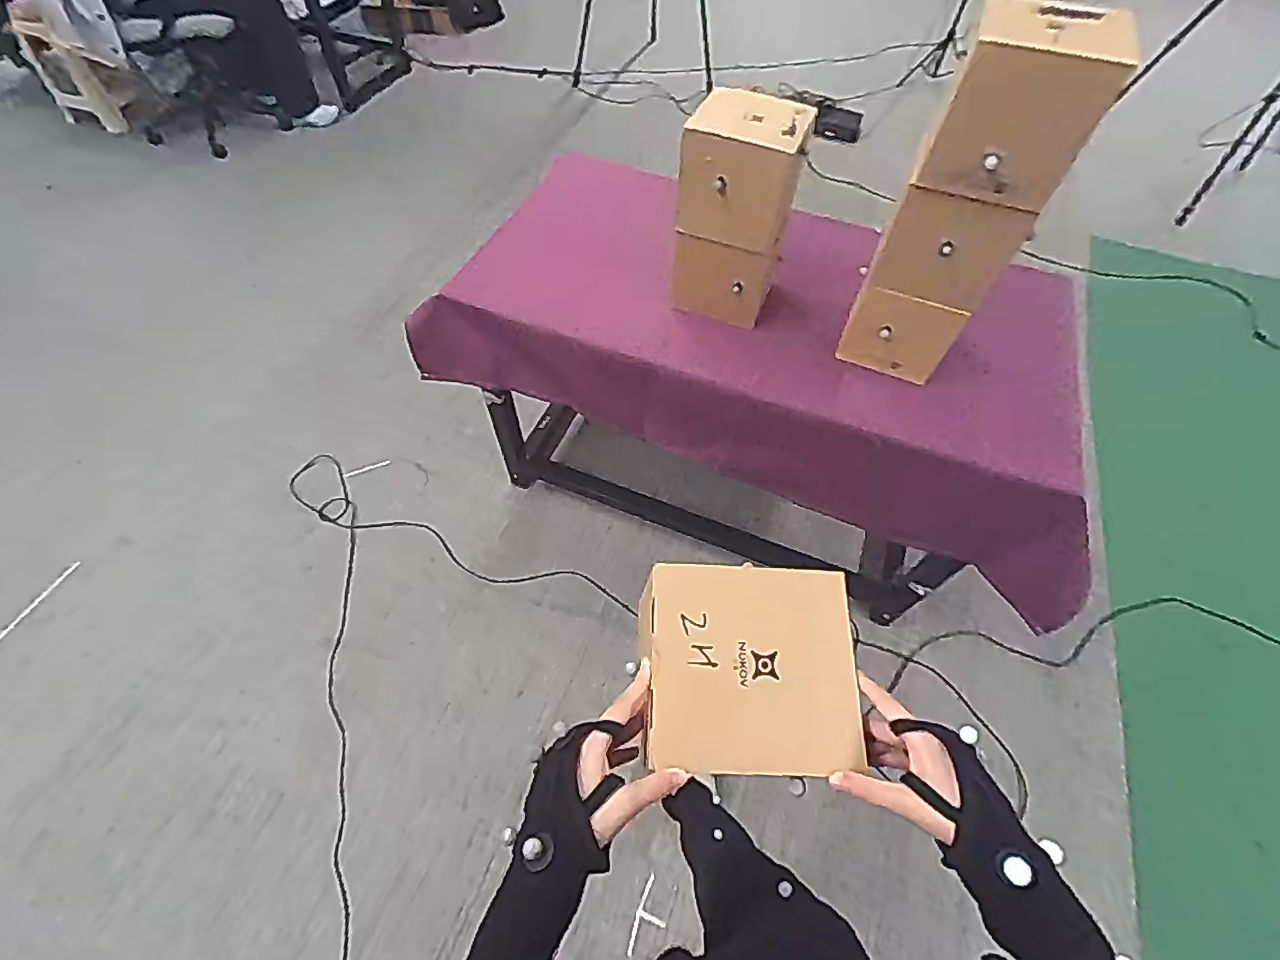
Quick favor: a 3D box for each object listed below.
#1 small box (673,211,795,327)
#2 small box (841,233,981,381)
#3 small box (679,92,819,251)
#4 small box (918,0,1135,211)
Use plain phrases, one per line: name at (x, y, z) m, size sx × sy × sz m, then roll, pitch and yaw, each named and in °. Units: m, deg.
small box at (0.176, -0.424, 1.048) m, size 0.179 × 0.176 × 0.168 m, roll 20°, pitch 58°, yaw 12°
small box at (0.483, -0.309, 0.981) m, size 0.168 × 0.176 × 0.179 m, roll 21°, pitch 58°, yaw 12°
small box at (0.175, -0.514, 0.910) m, size 0.179 × 0.176 × 0.168 m, roll 20°, pitch 58°, yaw 12°
small box at (0.487, -0.488, 0.705) m, size 0.168 × 0.176 × 0.179 m, roll 20°, pitch 59°, yaw 12°
